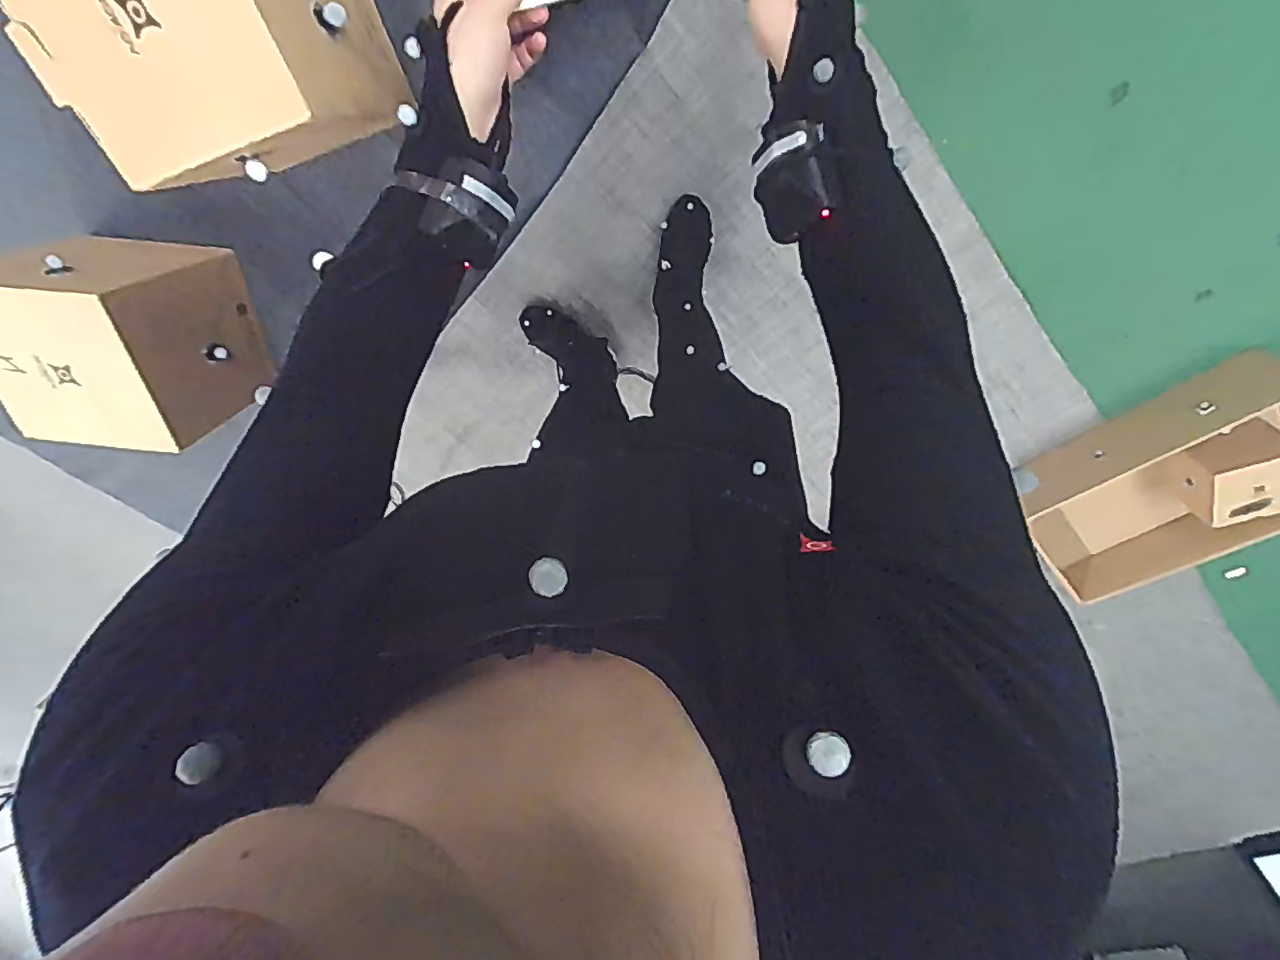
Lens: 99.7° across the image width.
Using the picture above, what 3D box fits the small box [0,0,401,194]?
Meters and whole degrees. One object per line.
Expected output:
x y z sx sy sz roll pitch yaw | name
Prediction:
-0.312 -0.341 0.407 0.179 0.176 0.168 -9 124 16 | small box

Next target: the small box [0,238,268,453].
-0.542 -0.149 0.578 0.179 0.176 0.168 6 126 3 | small box

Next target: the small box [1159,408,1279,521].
1.378 -0.038 1.276 0.168 0.176 0.179 -21 122 22 | small box
